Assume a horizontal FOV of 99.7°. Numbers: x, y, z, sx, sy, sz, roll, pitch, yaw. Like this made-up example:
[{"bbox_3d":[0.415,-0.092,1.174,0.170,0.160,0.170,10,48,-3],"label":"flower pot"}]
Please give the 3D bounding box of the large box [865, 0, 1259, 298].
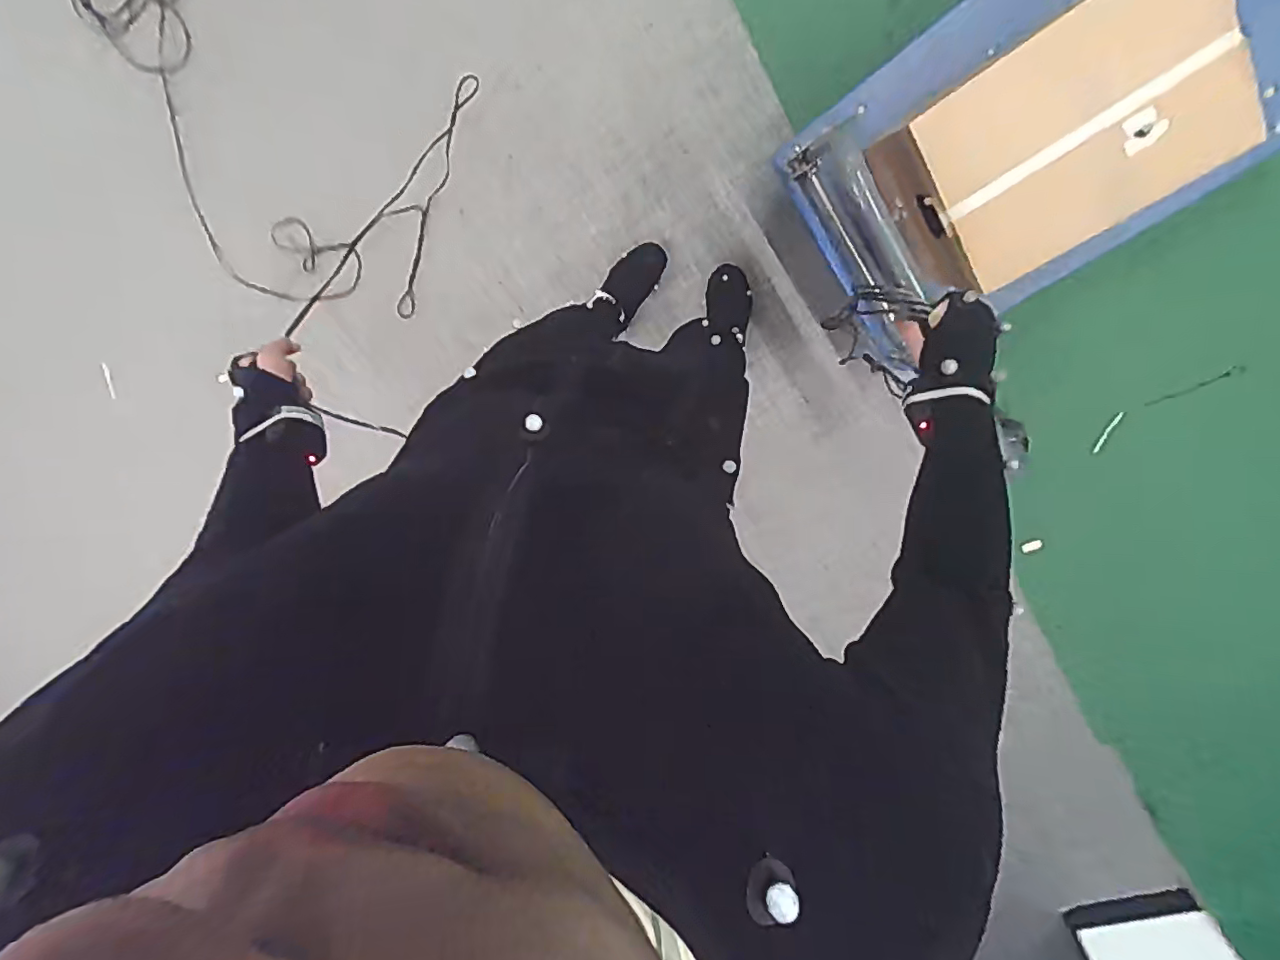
[{"bbox_3d":[0.682,-0.577,0.950,0.408,0.320,0.320,-29,108,19],"label":"large box"}]
